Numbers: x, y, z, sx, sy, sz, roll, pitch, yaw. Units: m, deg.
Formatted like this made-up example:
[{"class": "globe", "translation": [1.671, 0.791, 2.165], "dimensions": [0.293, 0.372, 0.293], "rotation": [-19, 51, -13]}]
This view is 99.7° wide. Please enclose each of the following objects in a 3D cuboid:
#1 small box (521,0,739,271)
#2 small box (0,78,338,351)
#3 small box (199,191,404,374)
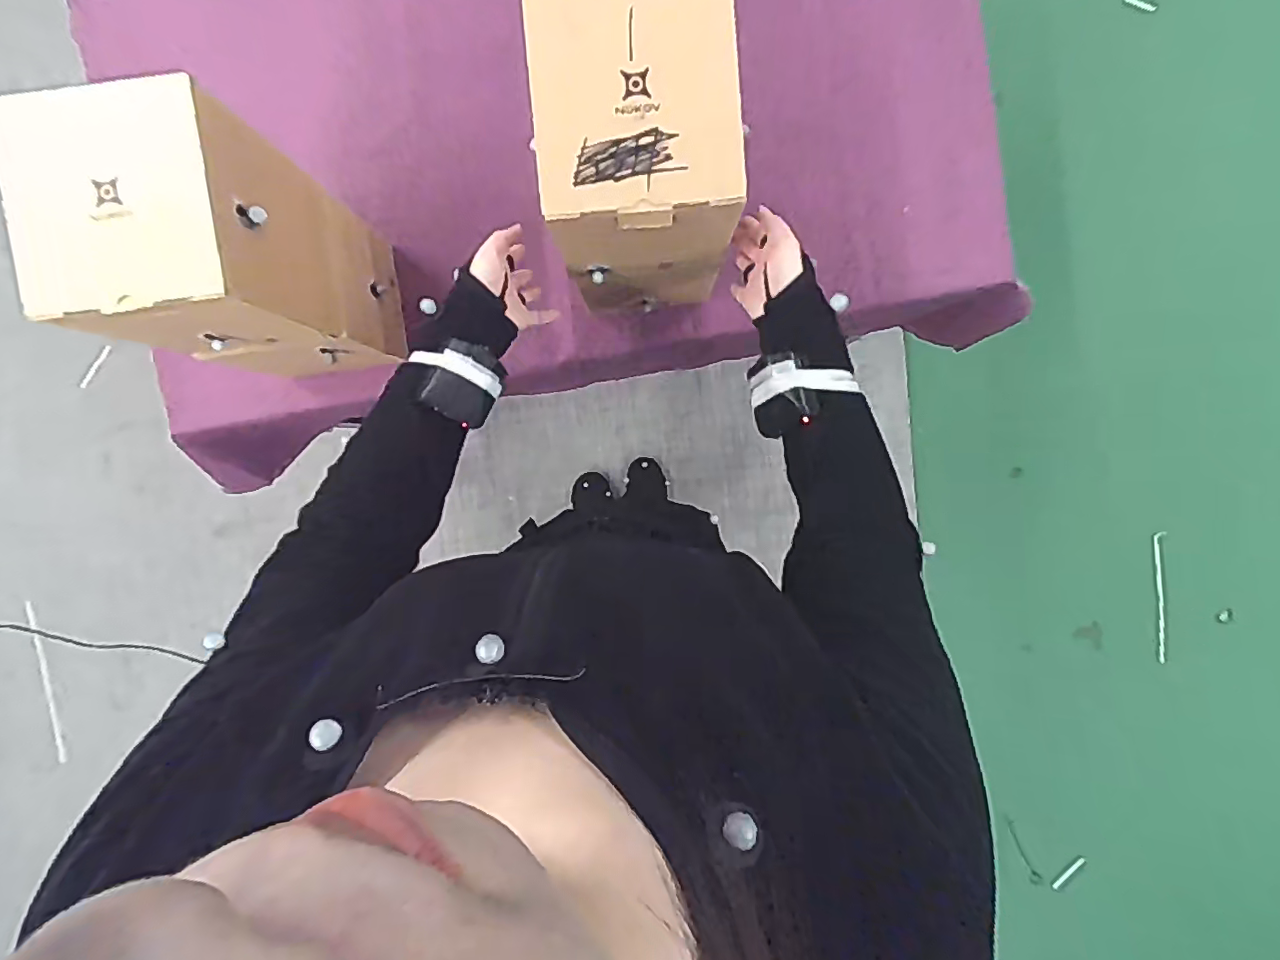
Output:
[{"class": "small box", "translation": [-0.004, -0.306, 0.503], "dimensions": [0.168, 0.176, 0.179], "rotation": [-4, 93, 1]}, {"class": "small box", "translation": [-0.423, -0.233, 0.517], "dimensions": [0.168, 0.176, 0.179], "rotation": [-7, 94, 1]}, {"class": "small box", "translation": [-0.417, -0.234, 0.680], "dimensions": [0.179, 0.176, 0.168], "rotation": [-7, 93, 1]}]
